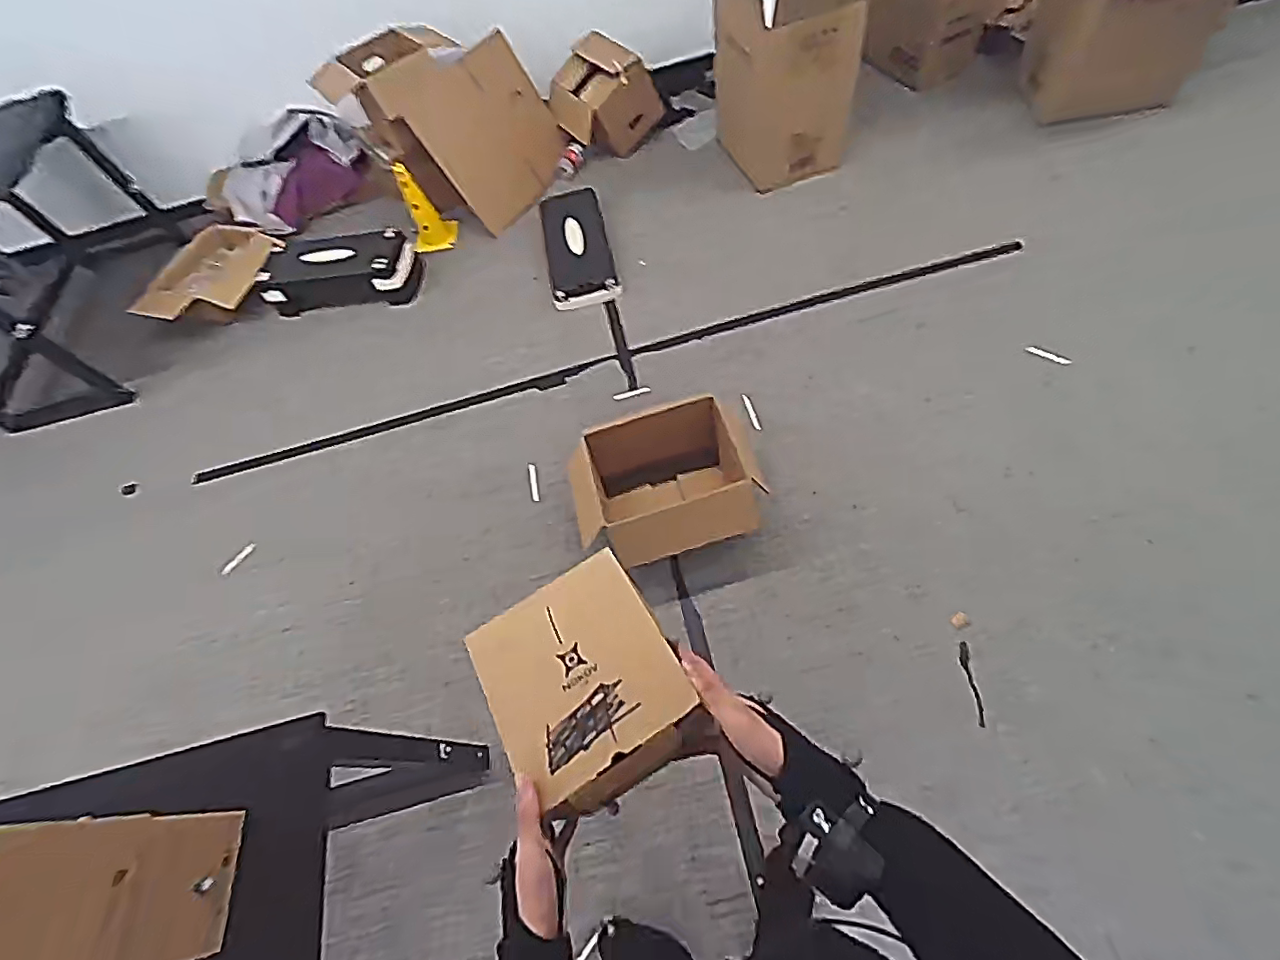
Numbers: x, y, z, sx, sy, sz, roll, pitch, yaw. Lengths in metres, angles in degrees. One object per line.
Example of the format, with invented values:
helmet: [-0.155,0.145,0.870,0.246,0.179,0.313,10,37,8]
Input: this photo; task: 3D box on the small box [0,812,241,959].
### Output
small box: [-0.672,0.538,0.695,0.179,0.176,0.168,-12,61,4]

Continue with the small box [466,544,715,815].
small box: [-0.039,0.200,0.541,0.168,0.176,0.179,-30,58,-5]
